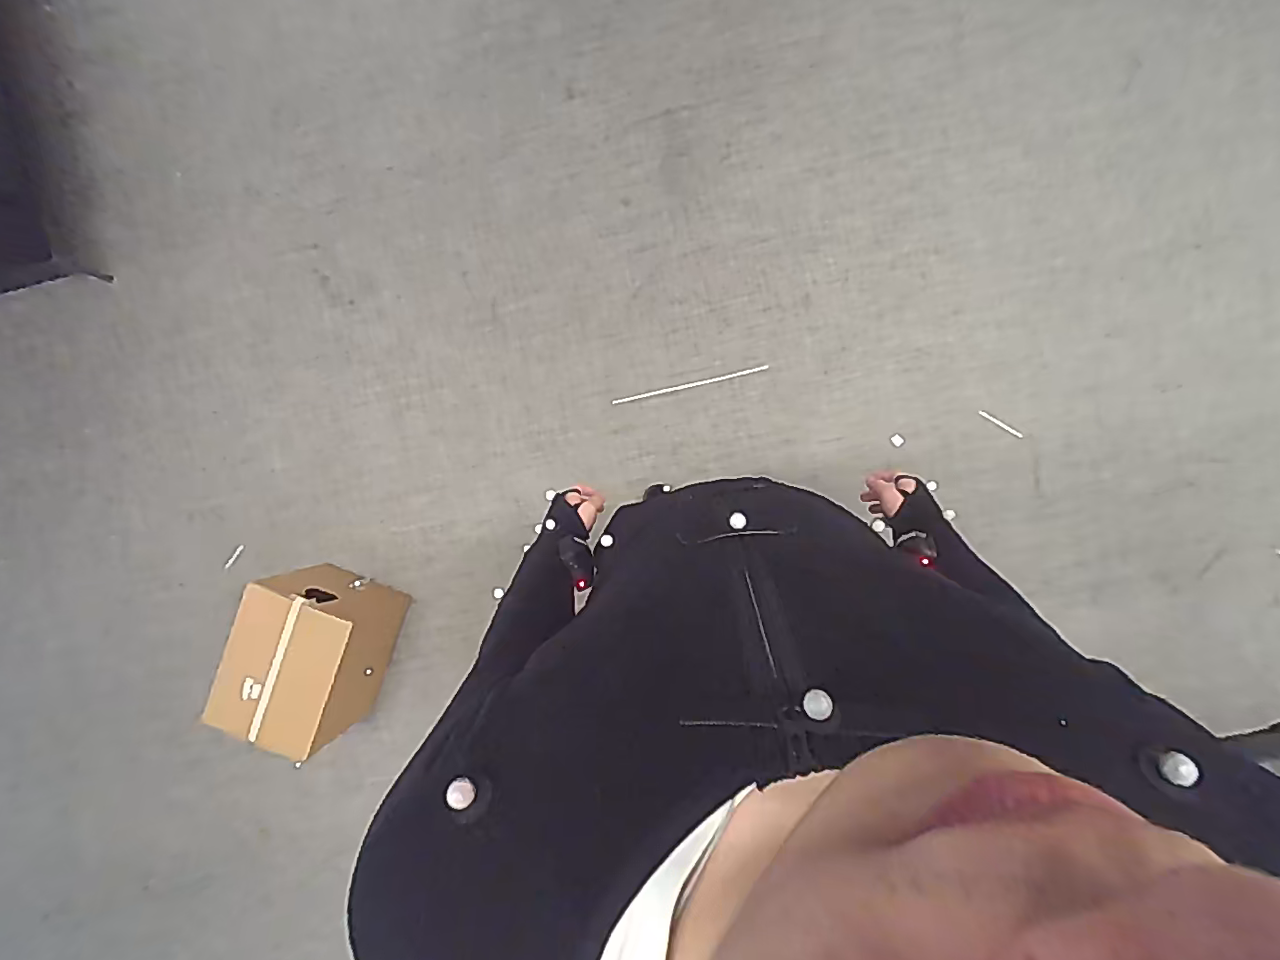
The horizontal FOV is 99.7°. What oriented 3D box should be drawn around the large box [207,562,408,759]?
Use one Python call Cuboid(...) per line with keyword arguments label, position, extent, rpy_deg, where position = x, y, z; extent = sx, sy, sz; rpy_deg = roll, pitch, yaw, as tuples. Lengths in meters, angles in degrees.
Cuboid(label="large box", position=(-0.938, 0.494, 1.567), extent=(0.320, 0.320, 0.408), rpy_deg=(20, 93, 4))
